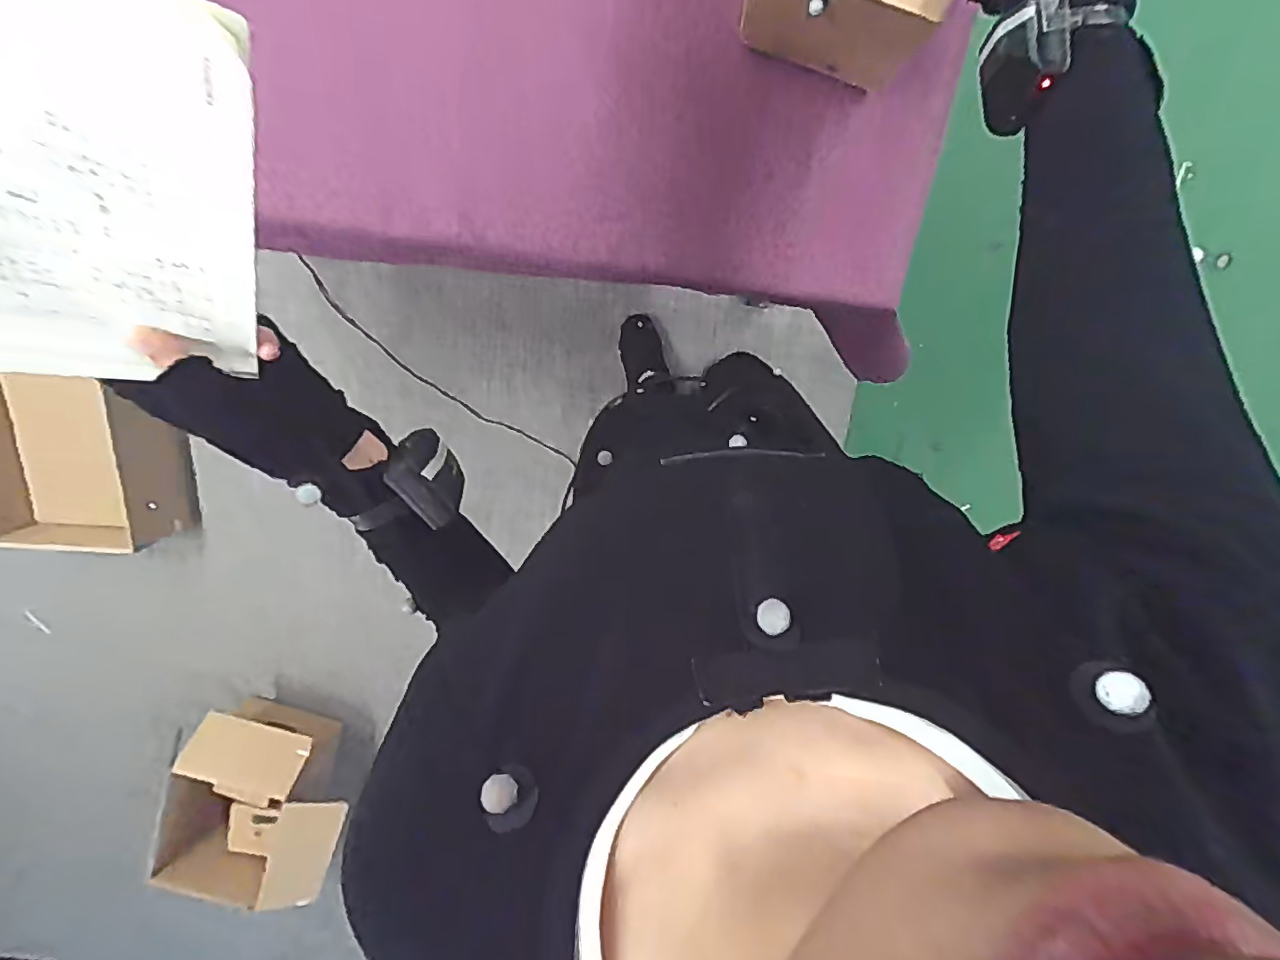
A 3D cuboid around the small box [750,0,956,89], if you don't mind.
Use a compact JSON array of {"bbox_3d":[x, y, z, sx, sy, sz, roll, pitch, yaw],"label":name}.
[{"bbox_3d":[0.206,-0.496,0.477,0.168,0.176,0.179,21,110,-1],"label":"small box"}]
